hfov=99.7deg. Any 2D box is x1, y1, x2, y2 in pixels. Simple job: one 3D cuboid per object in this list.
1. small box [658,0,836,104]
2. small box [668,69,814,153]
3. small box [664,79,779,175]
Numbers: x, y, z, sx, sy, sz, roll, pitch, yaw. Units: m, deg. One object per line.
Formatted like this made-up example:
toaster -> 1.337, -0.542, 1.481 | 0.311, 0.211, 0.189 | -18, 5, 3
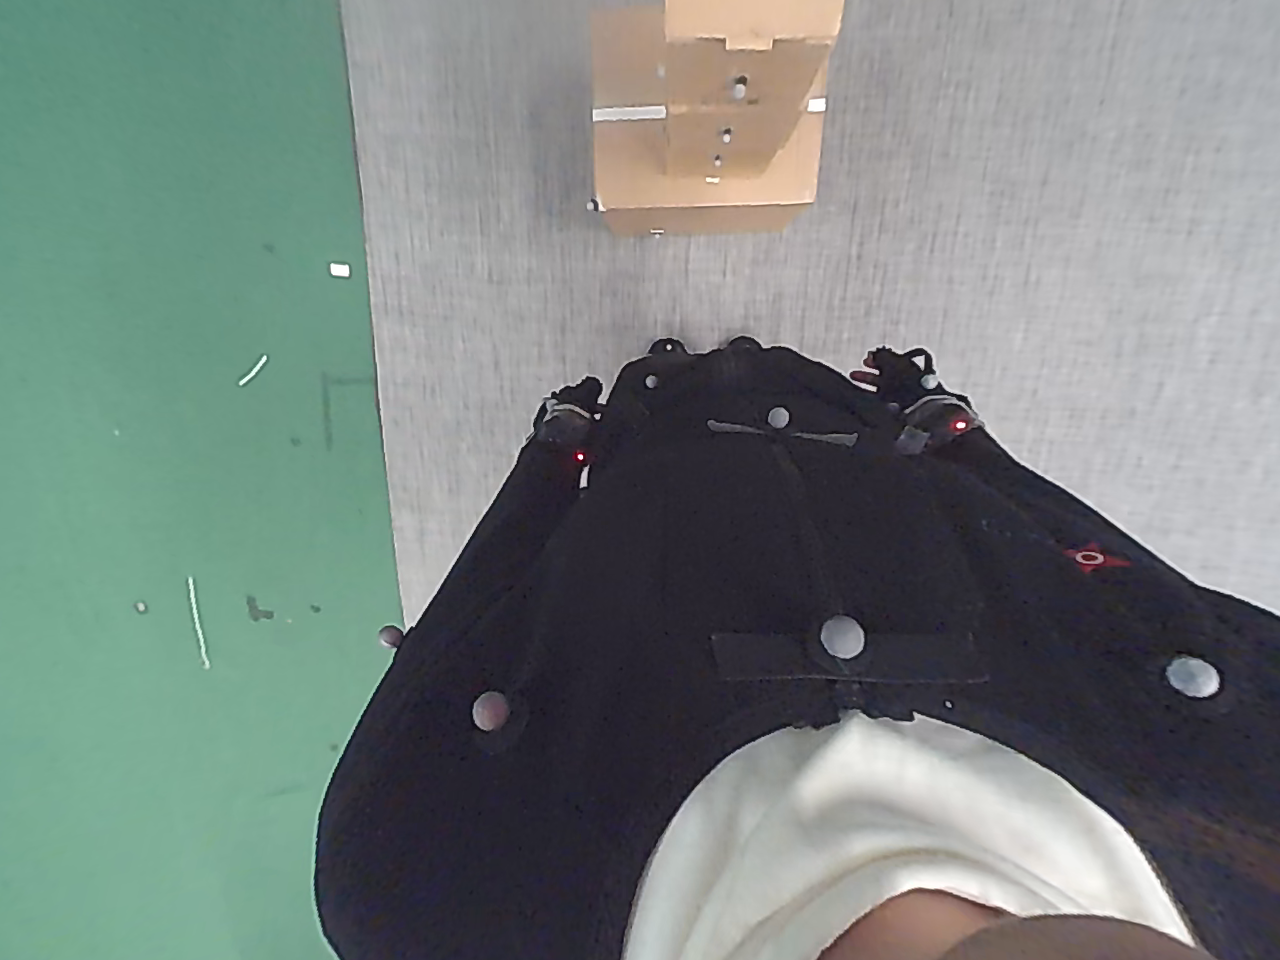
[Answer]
small box -> 0.112, -0.519, 0.563 | 0.168, 0.176, 0.179 | 5, 107, 4
small box -> 0.126, -0.556, 0.722 | 0.179, 0.176, 0.168 | -2, 107, 4
small box -> 0.132, -0.607, 0.878 | 0.179, 0.176, 0.168 | 2, 107, 3
